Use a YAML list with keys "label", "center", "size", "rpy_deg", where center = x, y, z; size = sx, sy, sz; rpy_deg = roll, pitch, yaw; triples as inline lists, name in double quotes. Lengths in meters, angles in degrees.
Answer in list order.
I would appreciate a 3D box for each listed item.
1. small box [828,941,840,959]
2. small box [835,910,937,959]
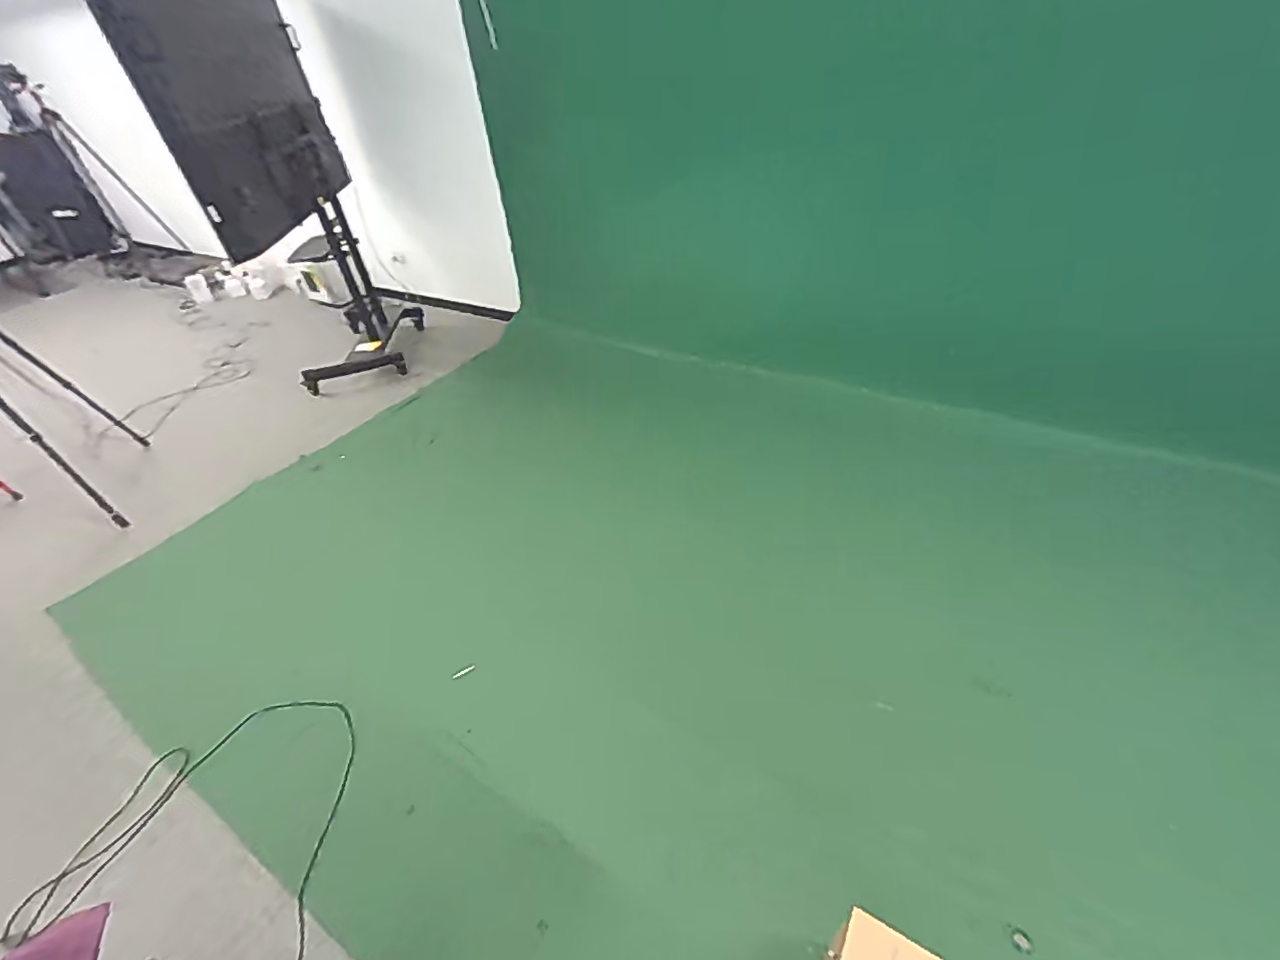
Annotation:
- label: "small box"
  center: [0.461, 1.090, 1.109]
  size: [0.168, 0.176, 0.179]
  rpy_deg: [18, 45, 27]
- label: "small box"
  center: [0.449, 0.964, 1.006]
  size: [0.168, 0.176, 0.179]
  rpy_deg: [19, 44, 26]
